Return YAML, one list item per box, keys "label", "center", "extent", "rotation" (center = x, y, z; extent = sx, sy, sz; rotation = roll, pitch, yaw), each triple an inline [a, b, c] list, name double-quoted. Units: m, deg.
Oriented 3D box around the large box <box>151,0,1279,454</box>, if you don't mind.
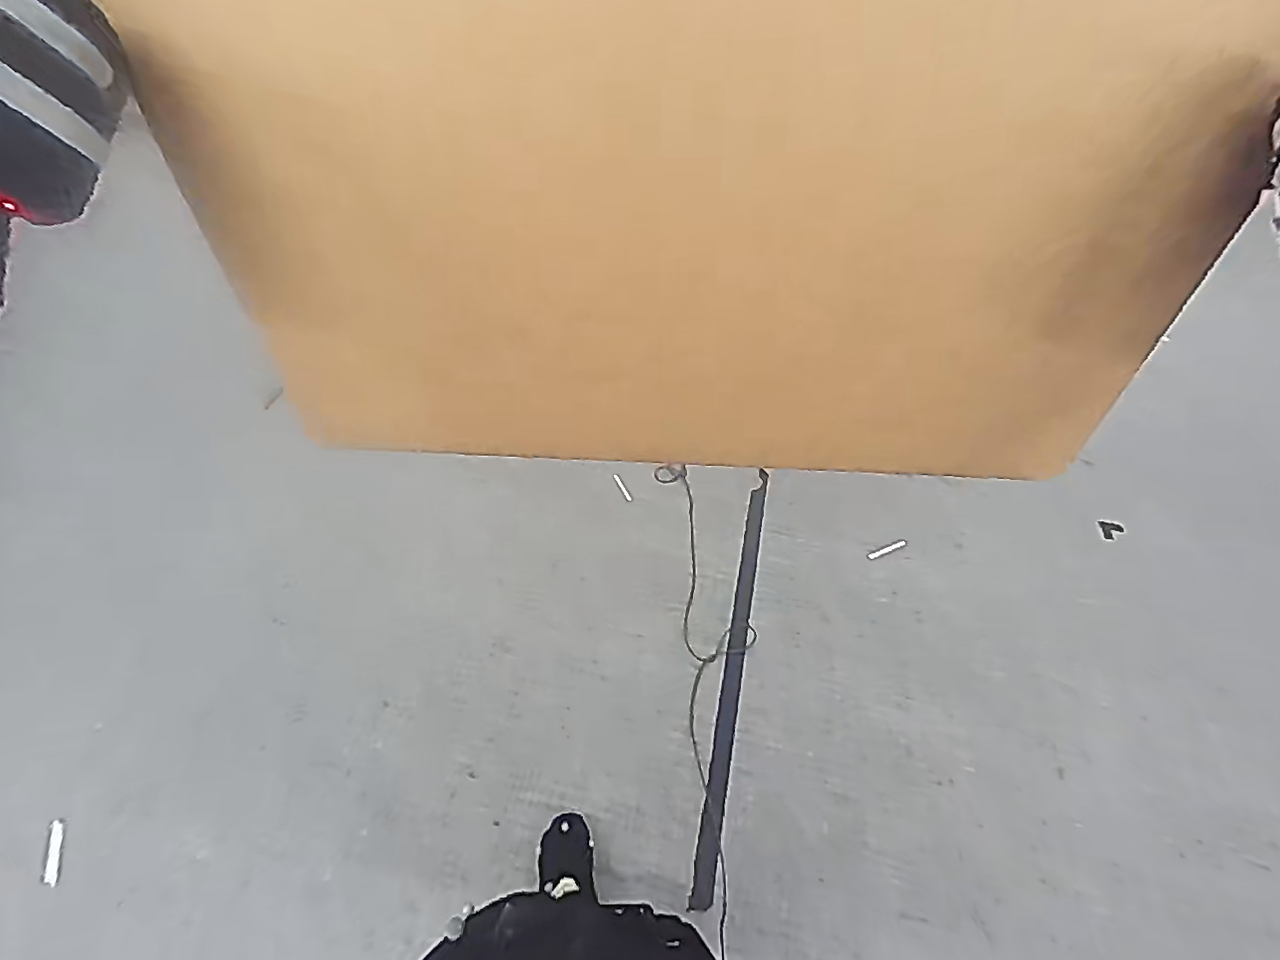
- label: "large box"
  center: [0.029, -0.230, 0.317]
  extent: [0.408, 0.320, 0.320]
  rotation: [3, 42, 1]
